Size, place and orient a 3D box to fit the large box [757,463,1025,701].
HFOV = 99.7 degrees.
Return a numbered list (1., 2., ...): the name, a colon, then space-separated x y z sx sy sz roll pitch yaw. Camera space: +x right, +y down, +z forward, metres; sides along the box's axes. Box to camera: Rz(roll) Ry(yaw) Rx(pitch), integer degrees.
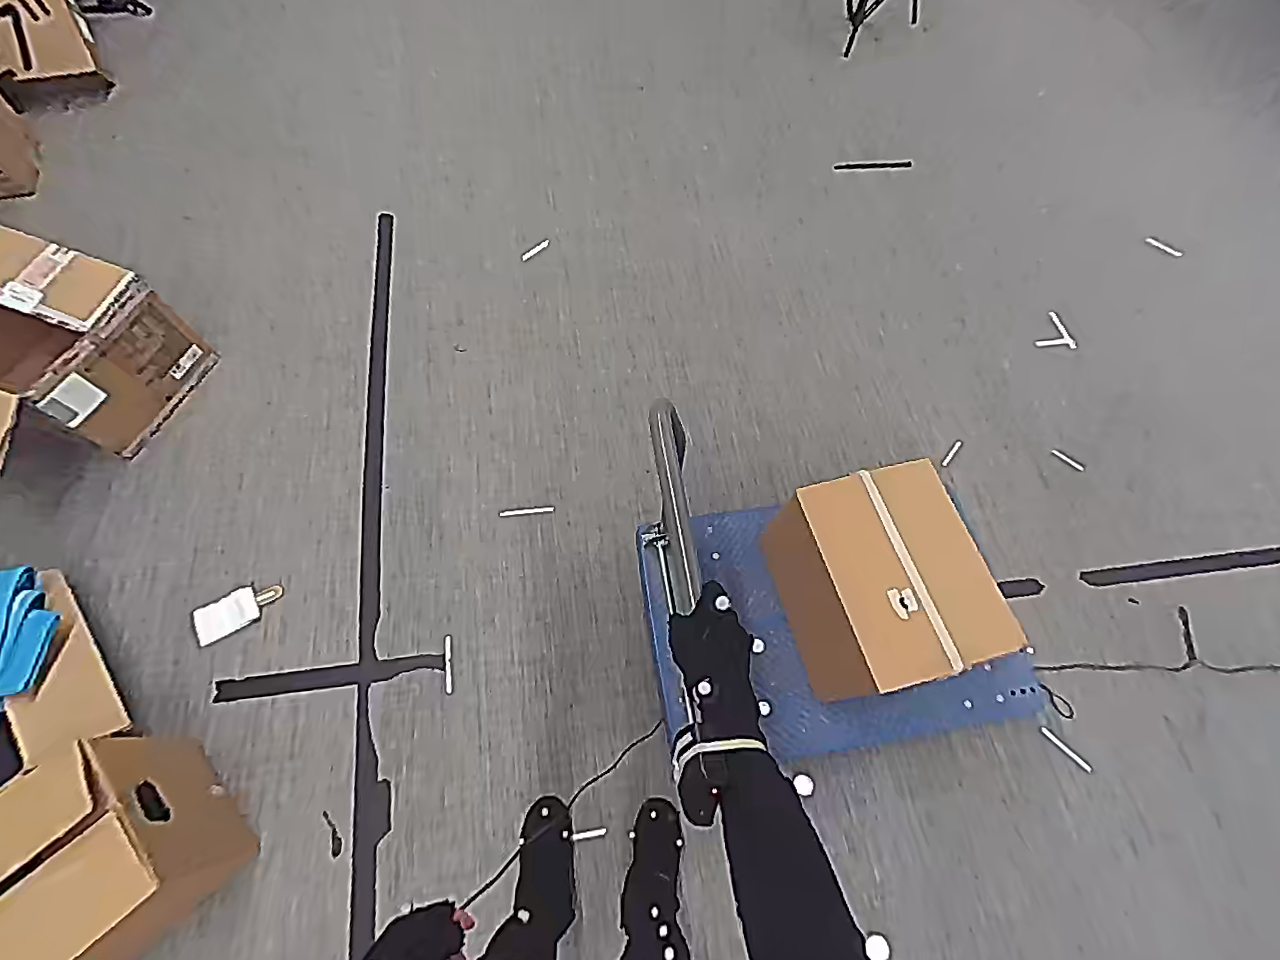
1. large box: 0.501 0.229 1.182 0.320 0.320 0.408 -13 67 -9
